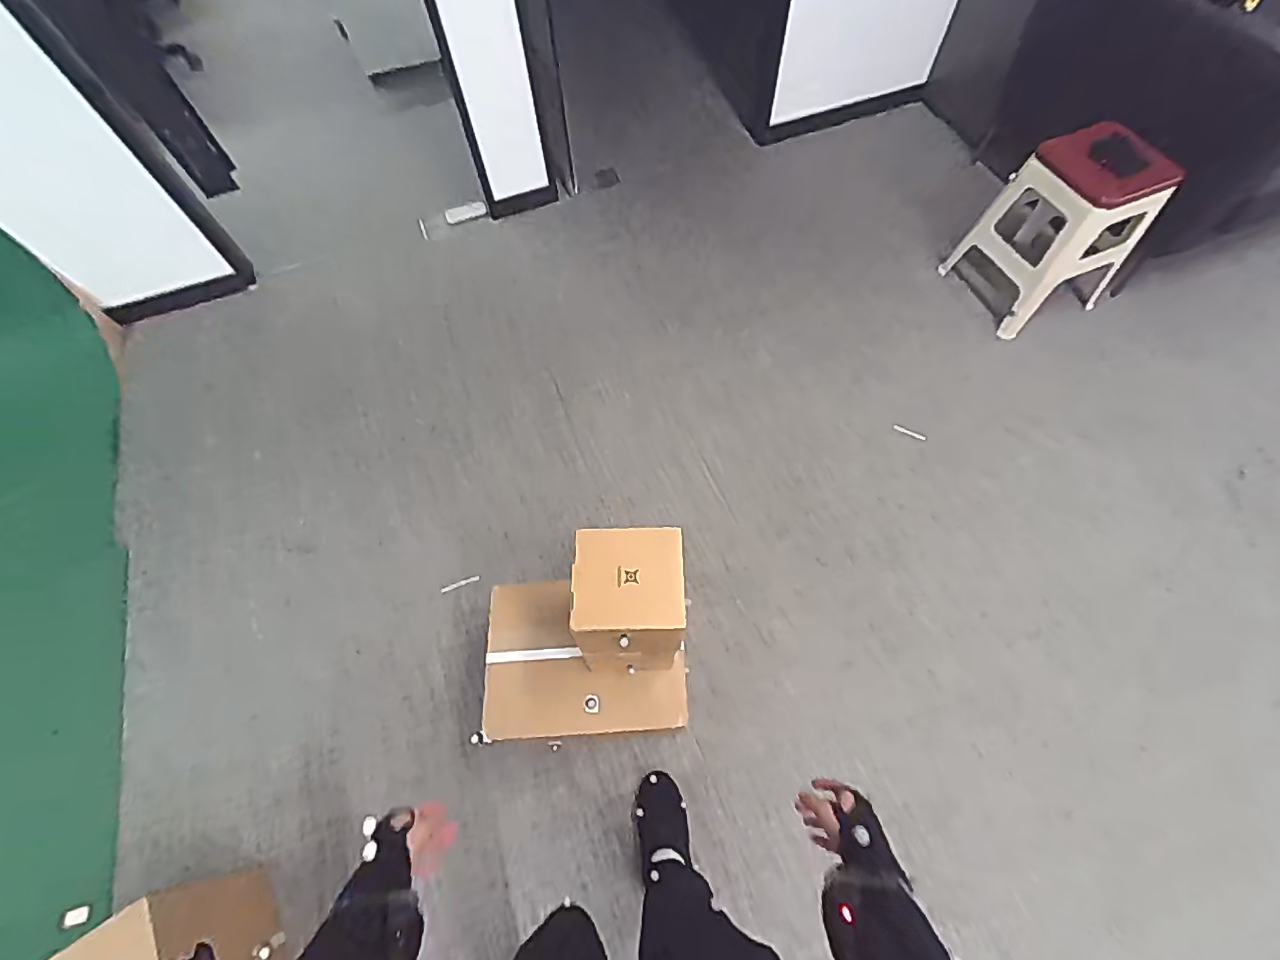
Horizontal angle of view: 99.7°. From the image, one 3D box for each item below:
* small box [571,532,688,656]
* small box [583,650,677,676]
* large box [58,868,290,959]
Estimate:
[{"bbox_3d":[-0.014,0.195,0.907,0.179,0.176,0.168,-2,61,2],"label":"small box"},{"bbox_3d":[-0.018,0.273,1.049,0.168,0.176,0.179,-3,61,1],"label":"small box"},{"bbox_3d":[-0.922,1.008,0.971,0.408,0.320,0.320,-33,65,-13],"label":"large box"}]
